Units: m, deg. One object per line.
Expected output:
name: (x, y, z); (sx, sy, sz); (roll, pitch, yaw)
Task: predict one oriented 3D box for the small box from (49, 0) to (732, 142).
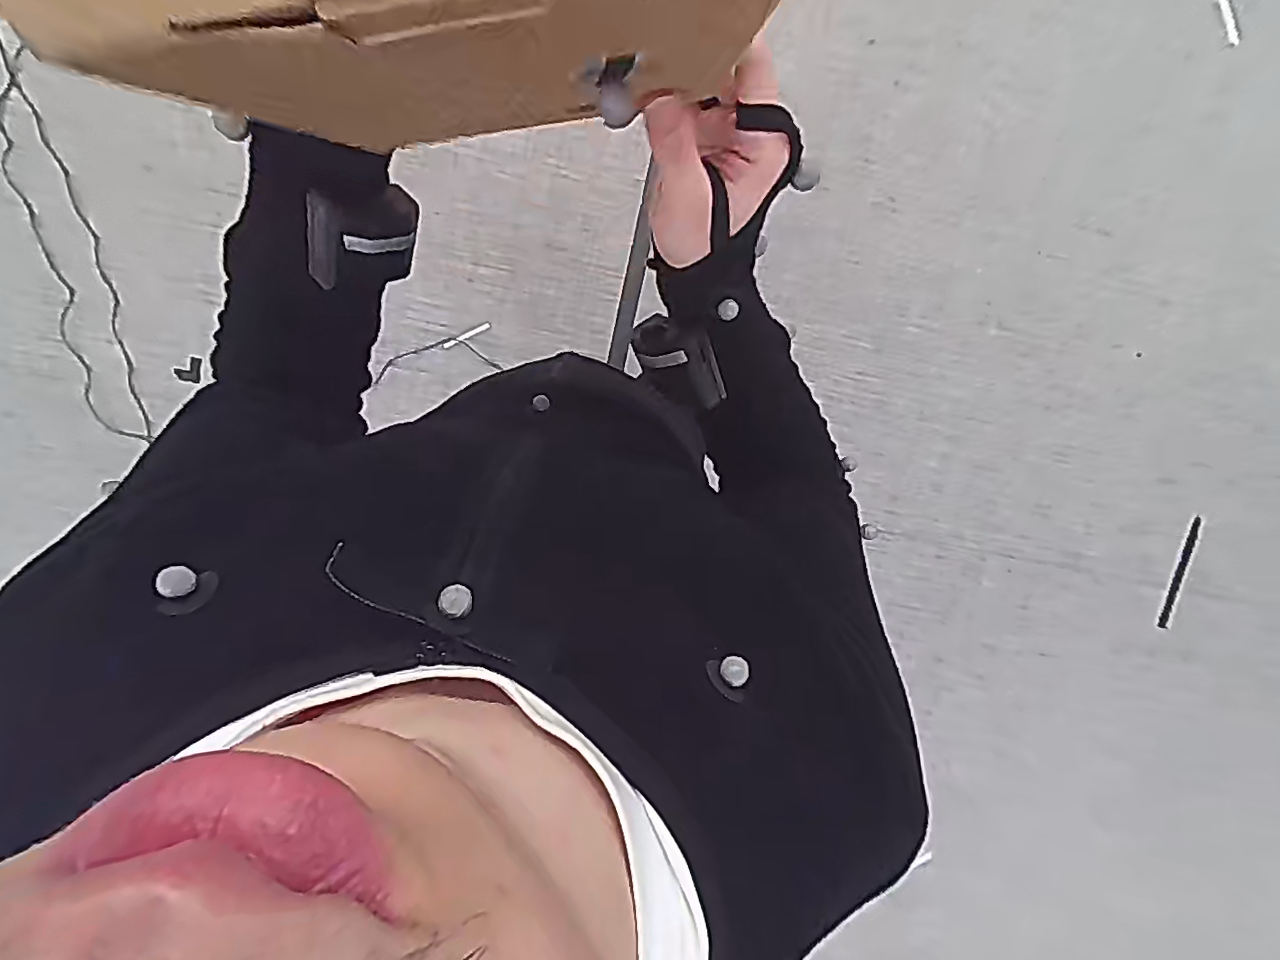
small box: (-0.061, -0.213, 0.155); (0.168, 0.176, 0.179); (-10, 115, 3)
